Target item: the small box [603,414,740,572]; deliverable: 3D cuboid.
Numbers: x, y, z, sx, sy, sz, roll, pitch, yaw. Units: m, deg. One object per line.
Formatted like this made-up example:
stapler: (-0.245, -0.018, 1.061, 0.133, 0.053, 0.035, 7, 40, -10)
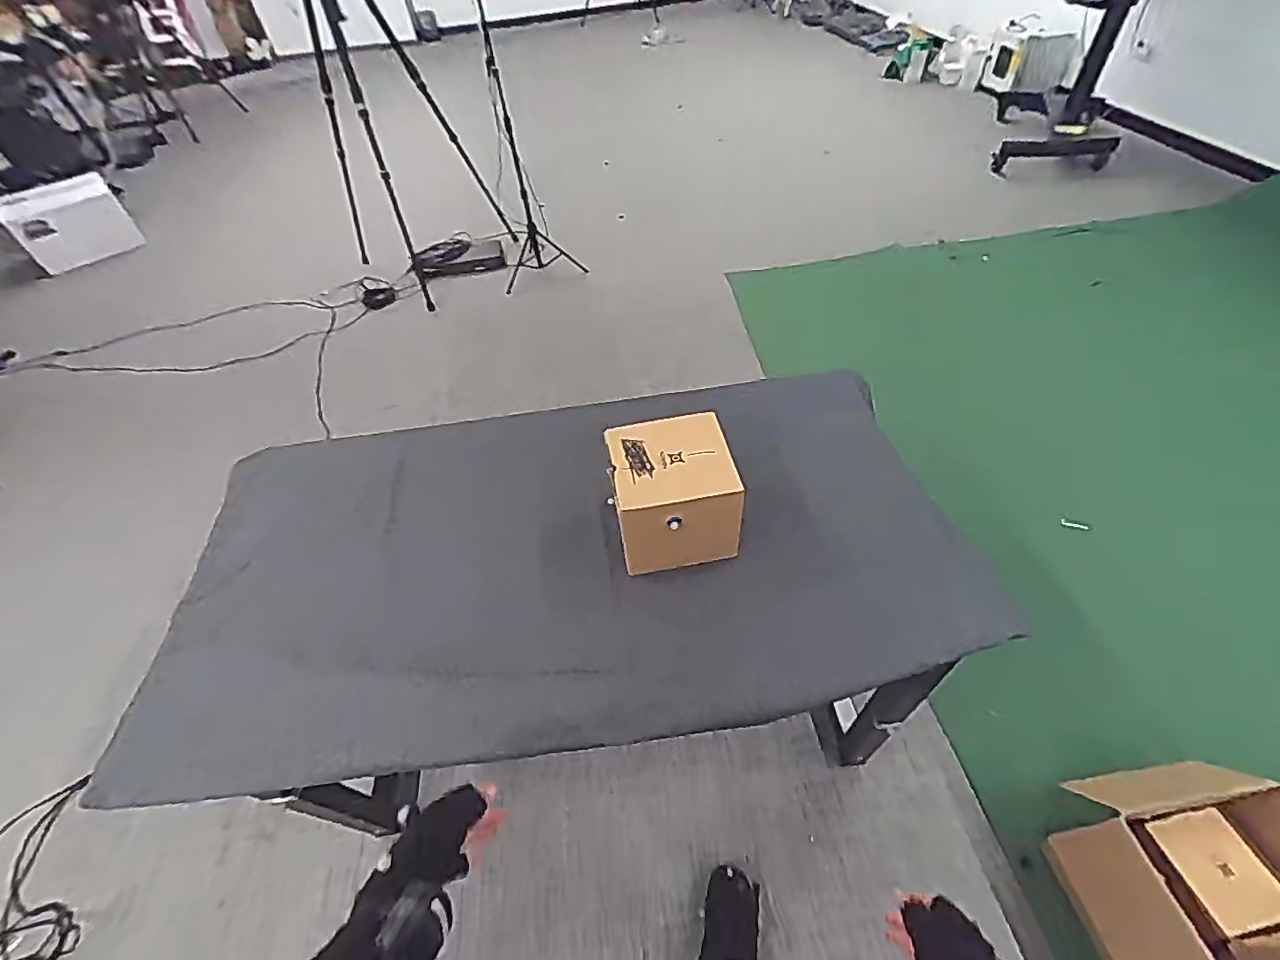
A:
small box: (0.047, 0.025, 0.840, 0.179, 0.176, 0.168, -10, 49, -3)
